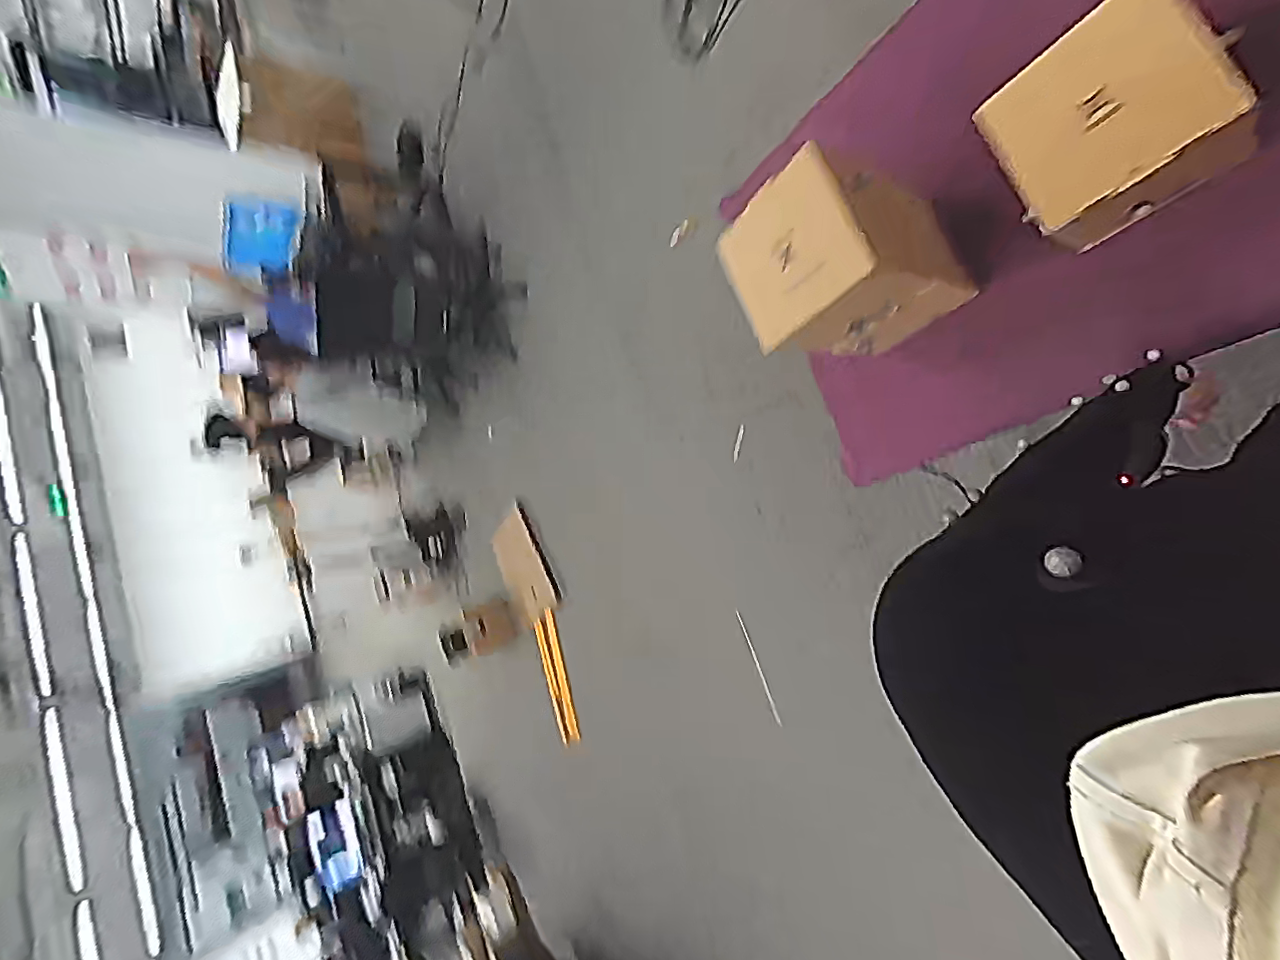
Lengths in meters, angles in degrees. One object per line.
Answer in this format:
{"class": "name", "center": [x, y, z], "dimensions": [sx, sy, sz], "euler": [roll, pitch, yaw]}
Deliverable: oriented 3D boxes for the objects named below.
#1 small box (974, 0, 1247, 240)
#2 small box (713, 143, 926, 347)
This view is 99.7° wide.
{"class": "small box", "center": [0.523, -0.400, 0.610], "dimensions": [0.168, 0.176, 0.179], "euler": [-34, 75, 47]}
{"class": "small box", "center": [0.234, -0.289, 0.709], "dimensions": [0.168, 0.176, 0.179], "euler": [-35, 73, 47]}
